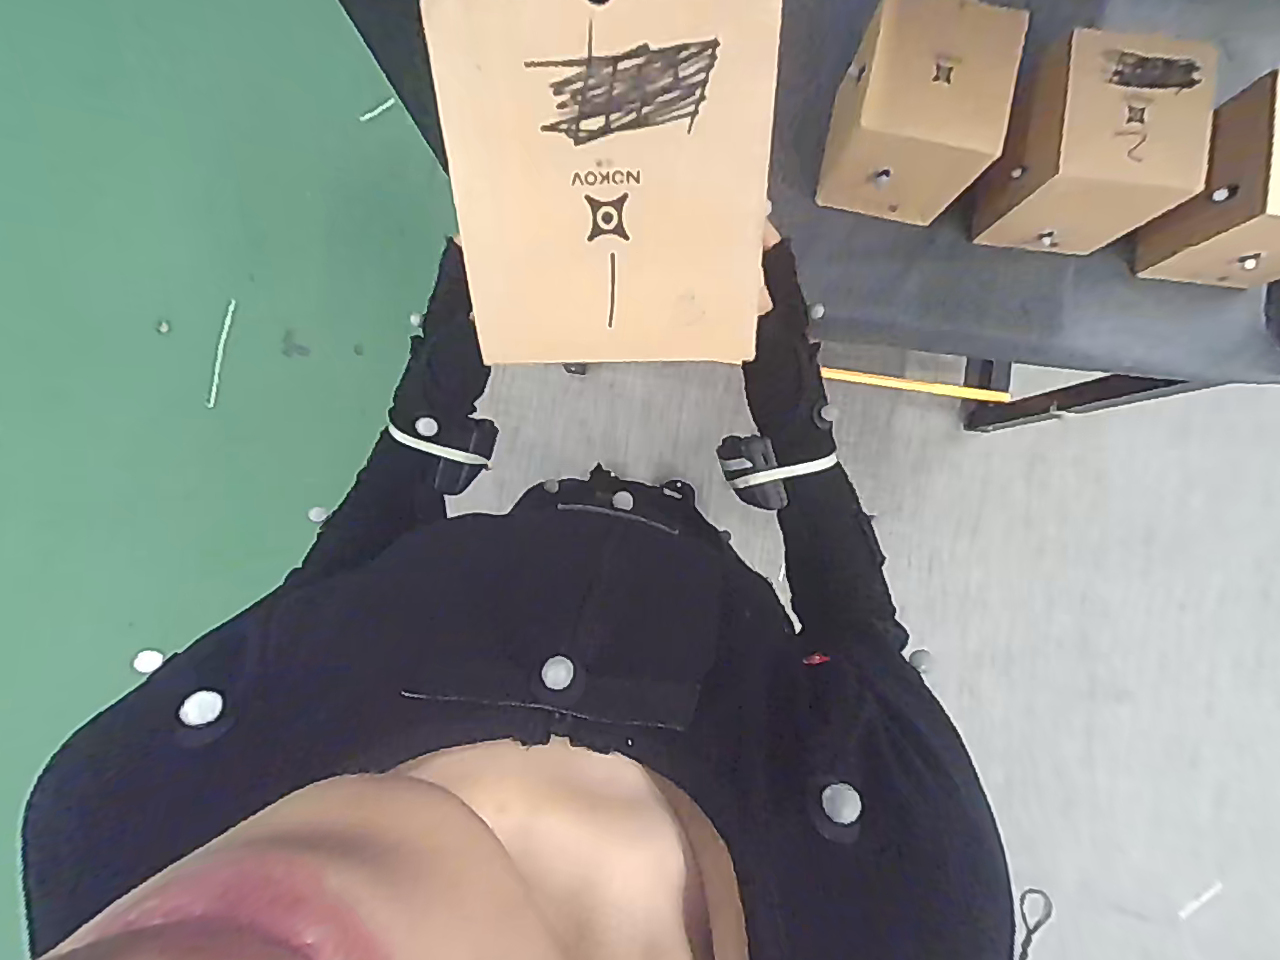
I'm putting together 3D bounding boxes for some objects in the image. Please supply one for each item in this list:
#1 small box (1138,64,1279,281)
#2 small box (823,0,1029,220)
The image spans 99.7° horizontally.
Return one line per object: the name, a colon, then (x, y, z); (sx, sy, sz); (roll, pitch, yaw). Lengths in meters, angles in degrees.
small box: (0.789, -0.372, 0.686); (0.168, 0.176, 0.179); (6, 88, 1)
small box: (0.352, -0.470, 0.700); (0.168, 0.176, 0.179); (12, 88, 1)
